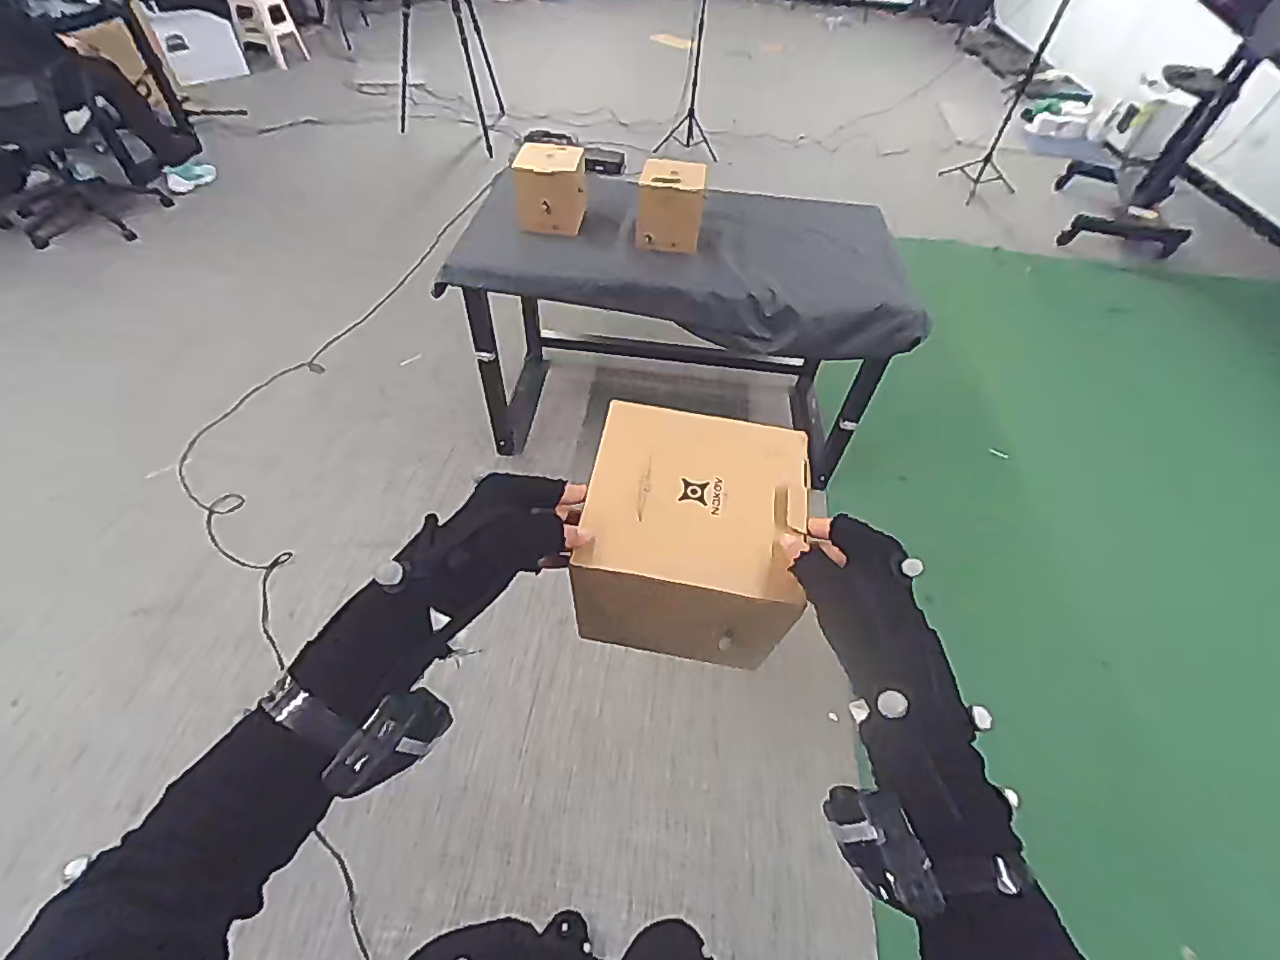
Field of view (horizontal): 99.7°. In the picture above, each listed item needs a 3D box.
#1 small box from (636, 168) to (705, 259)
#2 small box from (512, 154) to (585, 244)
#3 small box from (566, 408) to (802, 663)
[{"bbox_3d":[0.081,-0.724,1.474,0.168,0.176,0.179,7,49,3],"label":"small box"},{"bbox_3d":[-0.245,-0.777,1.500,0.168,0.176,0.179,5,50,1],"label":"small box"},{"bbox_3d":[0.041,0.058,0.504,0.179,0.176,0.168,8,54,4],"label":"small box"}]
